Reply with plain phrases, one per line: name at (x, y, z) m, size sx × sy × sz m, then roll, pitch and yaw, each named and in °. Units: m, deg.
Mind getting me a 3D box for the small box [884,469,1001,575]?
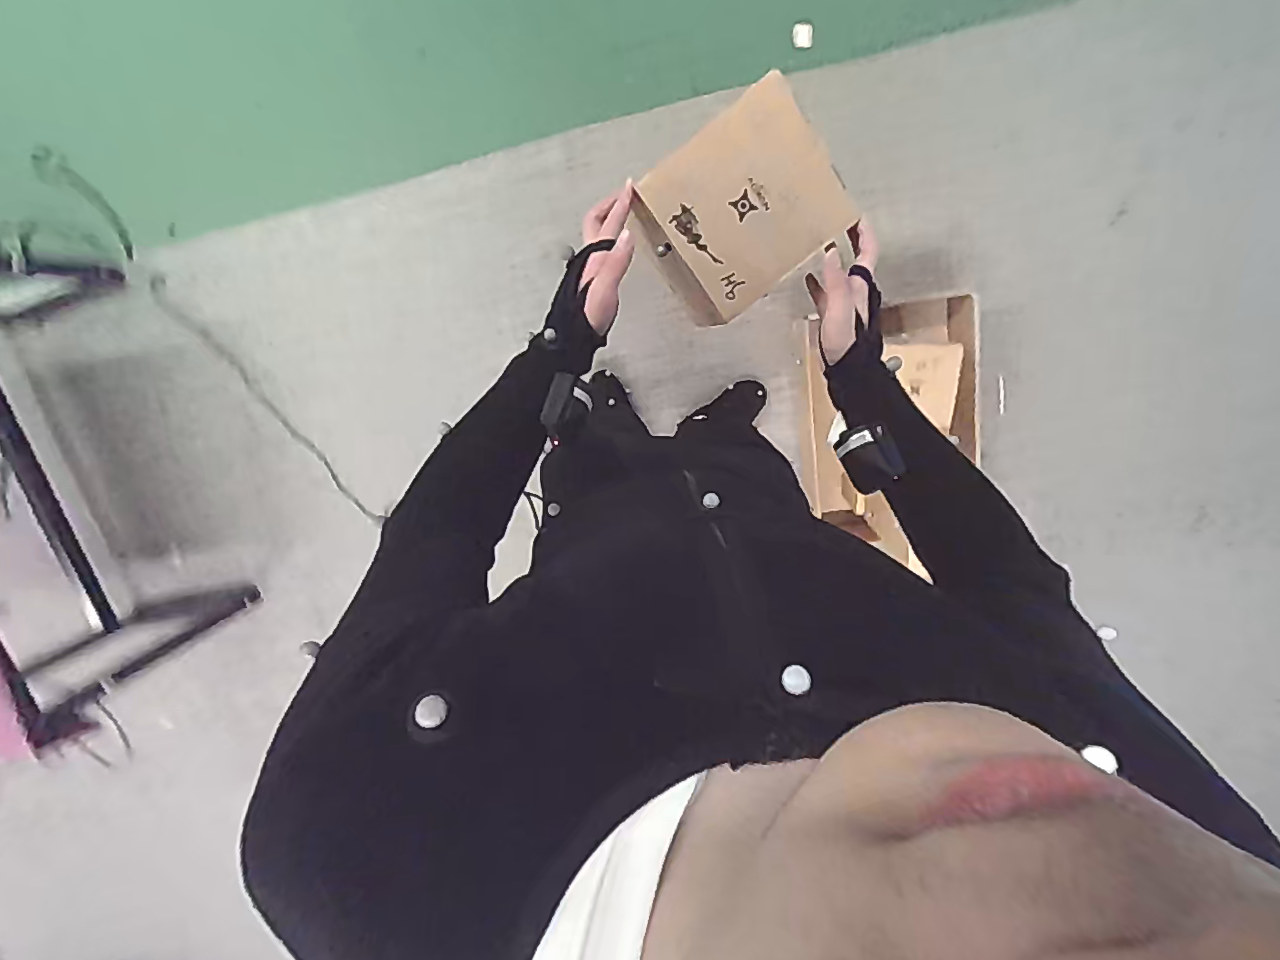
small box at (0.617, 0.080, 1.123) m, size 0.168 × 0.176 × 0.179 m, roll -5°, pitch 105°, yaw 9°
